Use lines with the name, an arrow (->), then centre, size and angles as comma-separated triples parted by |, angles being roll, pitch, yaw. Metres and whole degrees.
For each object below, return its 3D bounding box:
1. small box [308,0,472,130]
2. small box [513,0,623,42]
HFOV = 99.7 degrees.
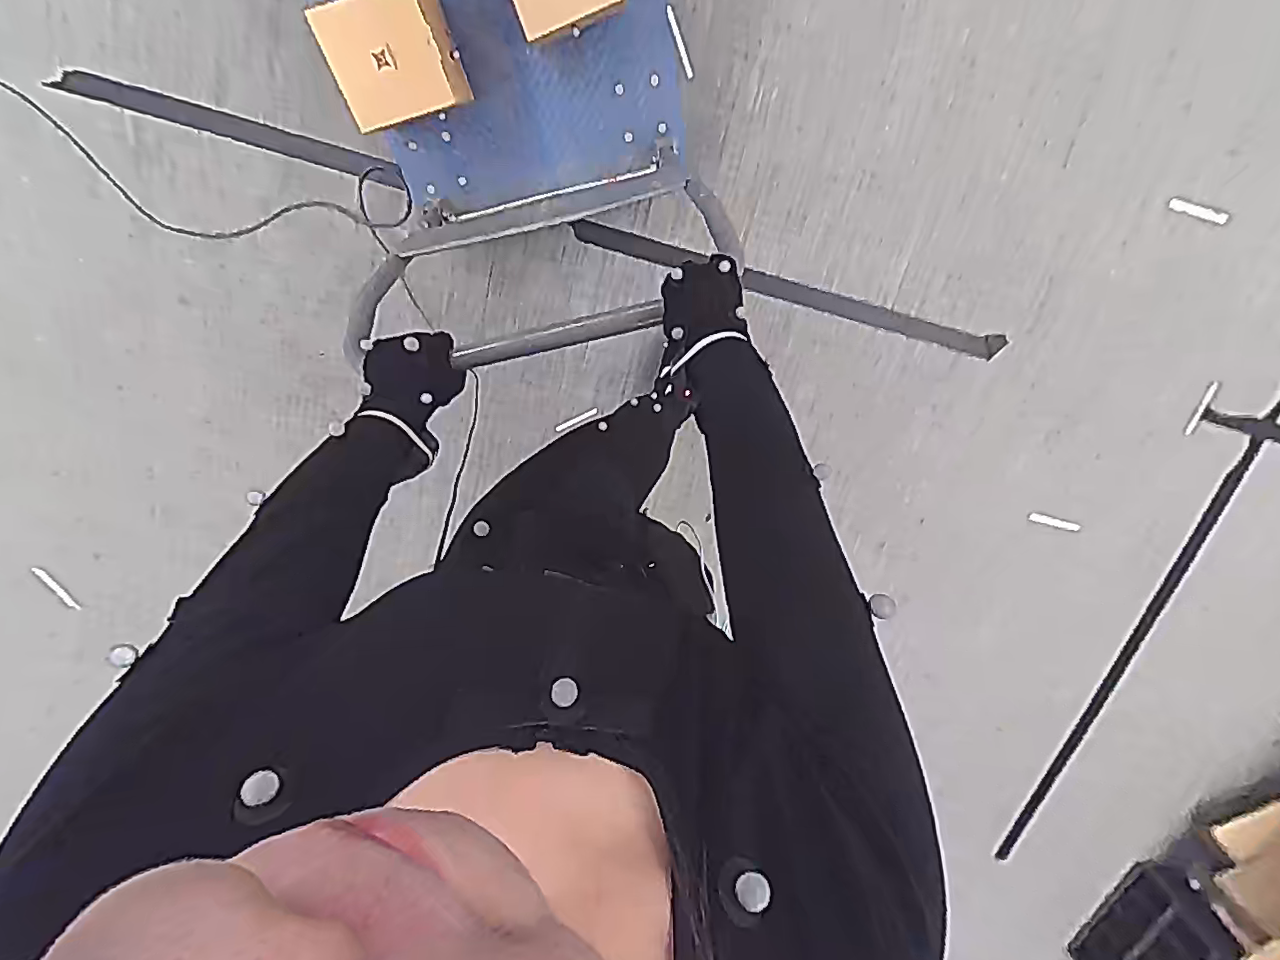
small box -> -0.411, -0.721, 0.927 | 0.179, 0.176, 0.168 | -15, 126, 5
small box -> -0.127, -0.835, 0.865 | 0.179, 0.176, 0.168 | -18, 126, 9
